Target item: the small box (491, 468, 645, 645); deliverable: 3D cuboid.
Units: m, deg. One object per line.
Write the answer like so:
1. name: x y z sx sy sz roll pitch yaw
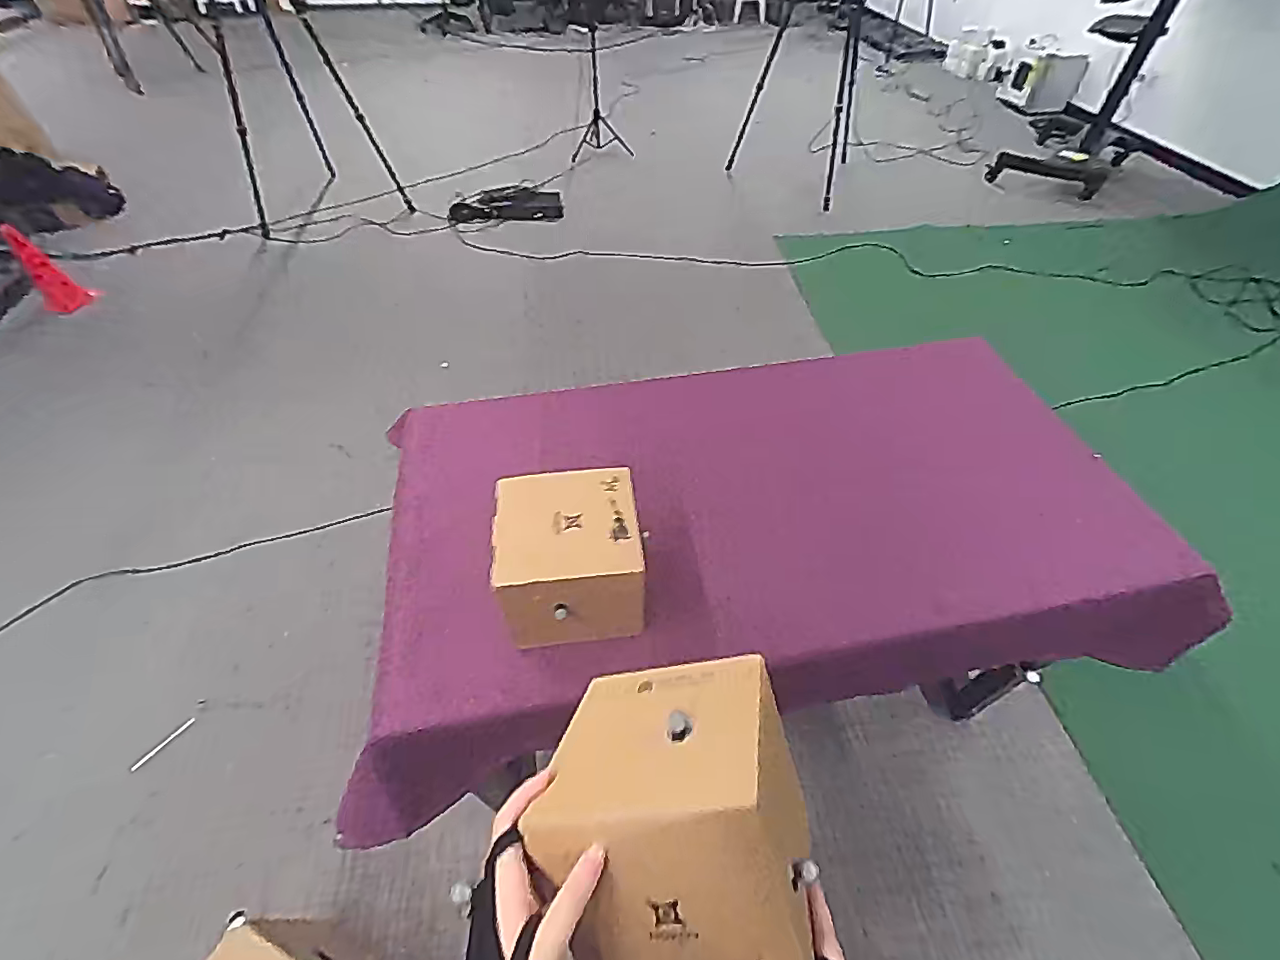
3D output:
1. small box: -0.090 0.107 0.726 0.179 0.176 0.168 -6 51 -4

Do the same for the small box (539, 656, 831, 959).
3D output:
1. small box: 0.046 0.261 0.438 0.168 0.179 0.176 -14 12 16
